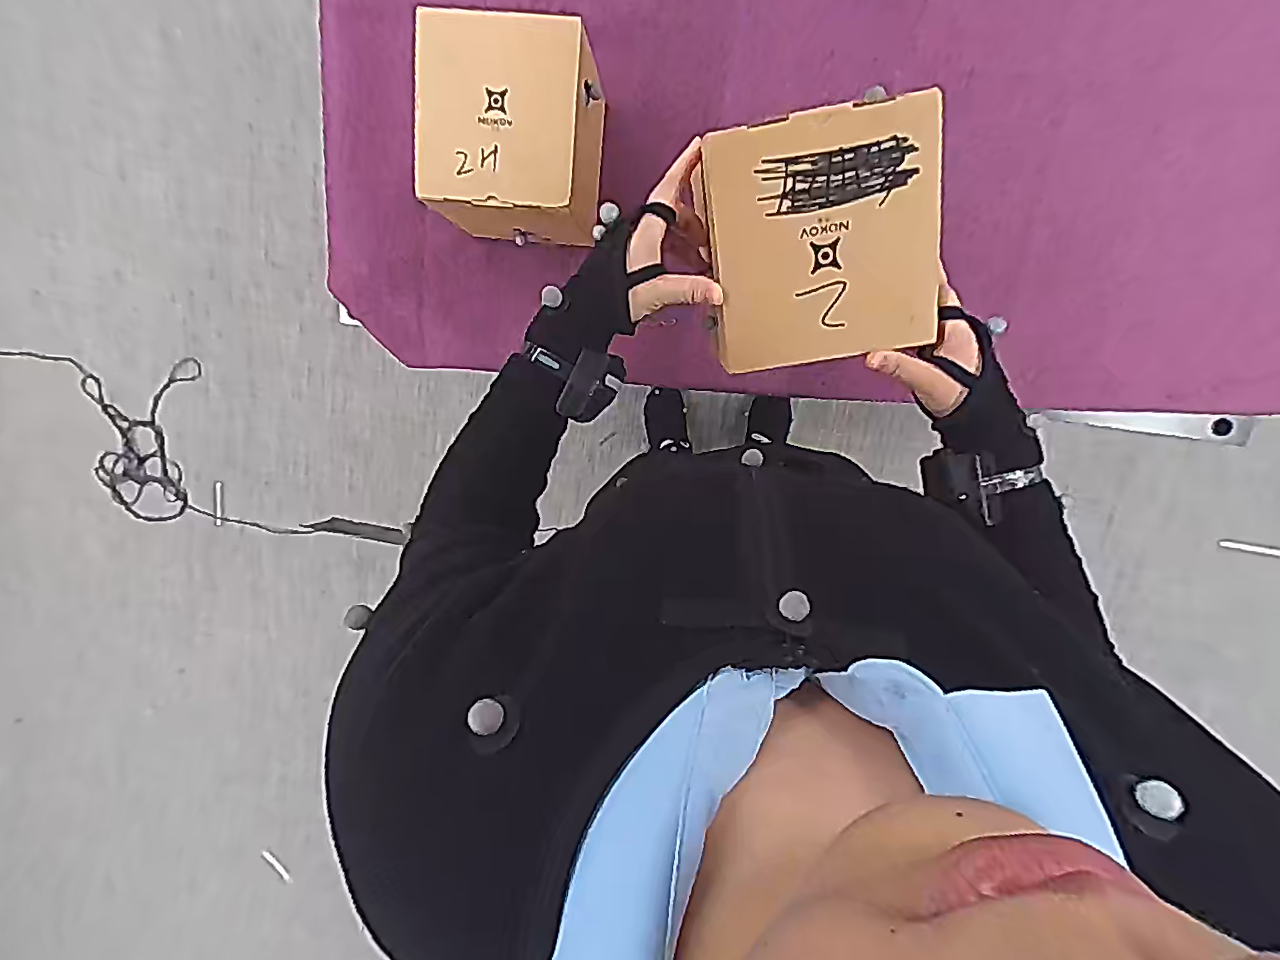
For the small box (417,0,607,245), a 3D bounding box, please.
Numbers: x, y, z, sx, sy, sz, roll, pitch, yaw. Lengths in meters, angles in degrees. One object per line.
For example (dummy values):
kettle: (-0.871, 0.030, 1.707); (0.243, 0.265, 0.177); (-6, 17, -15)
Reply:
small box: (-0.132, -0.383, 0.610); (0.168, 0.176, 0.179); (6, 102, 3)
